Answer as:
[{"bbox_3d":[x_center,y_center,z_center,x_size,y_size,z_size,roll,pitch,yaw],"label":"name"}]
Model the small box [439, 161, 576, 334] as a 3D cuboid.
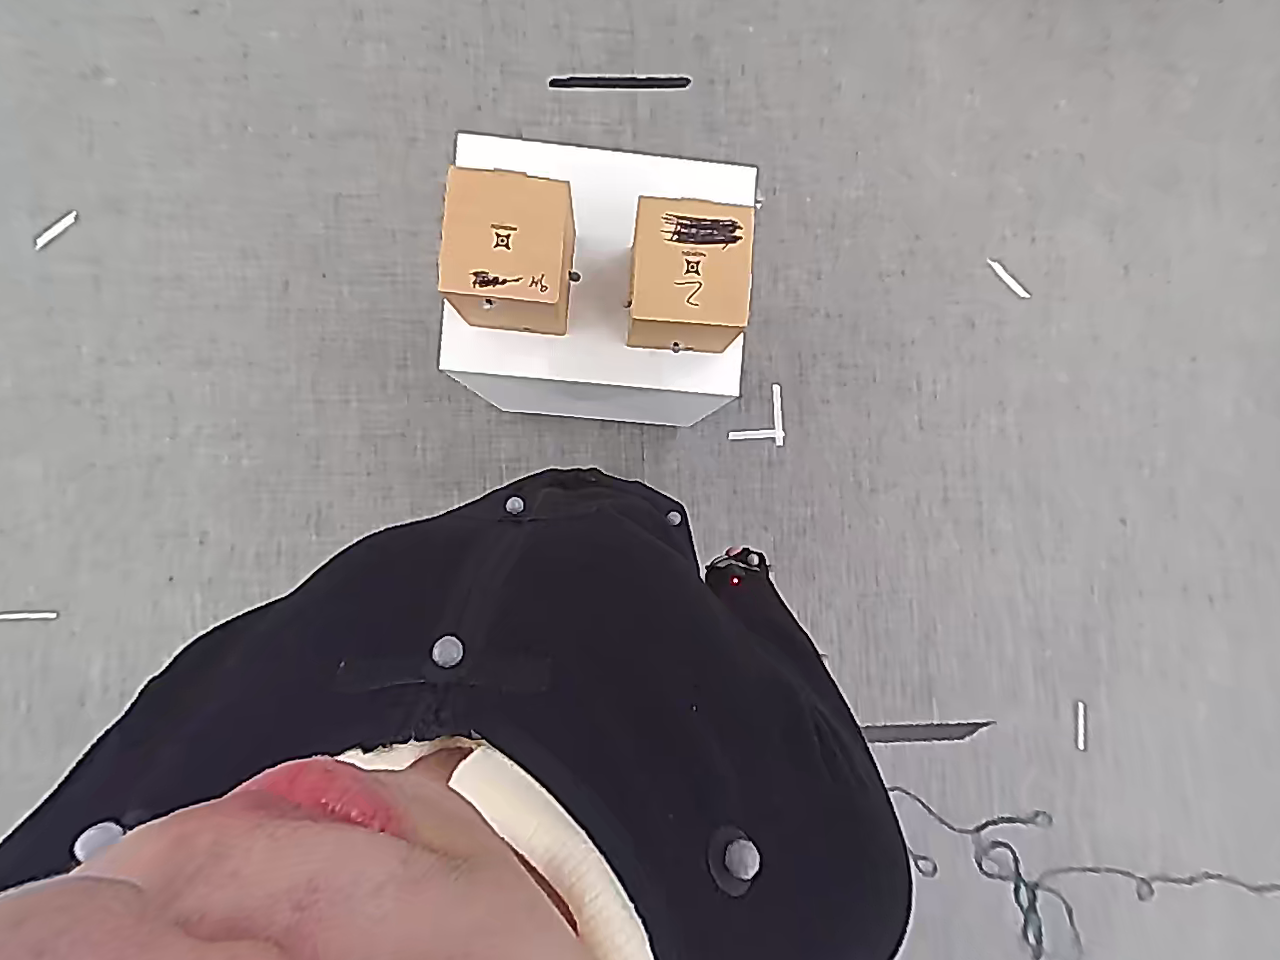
[{"bbox_3d":[-0.188,-0.339,0.818,0.168,0.176,0.179,6,89,-3],"label":"small box"}]
